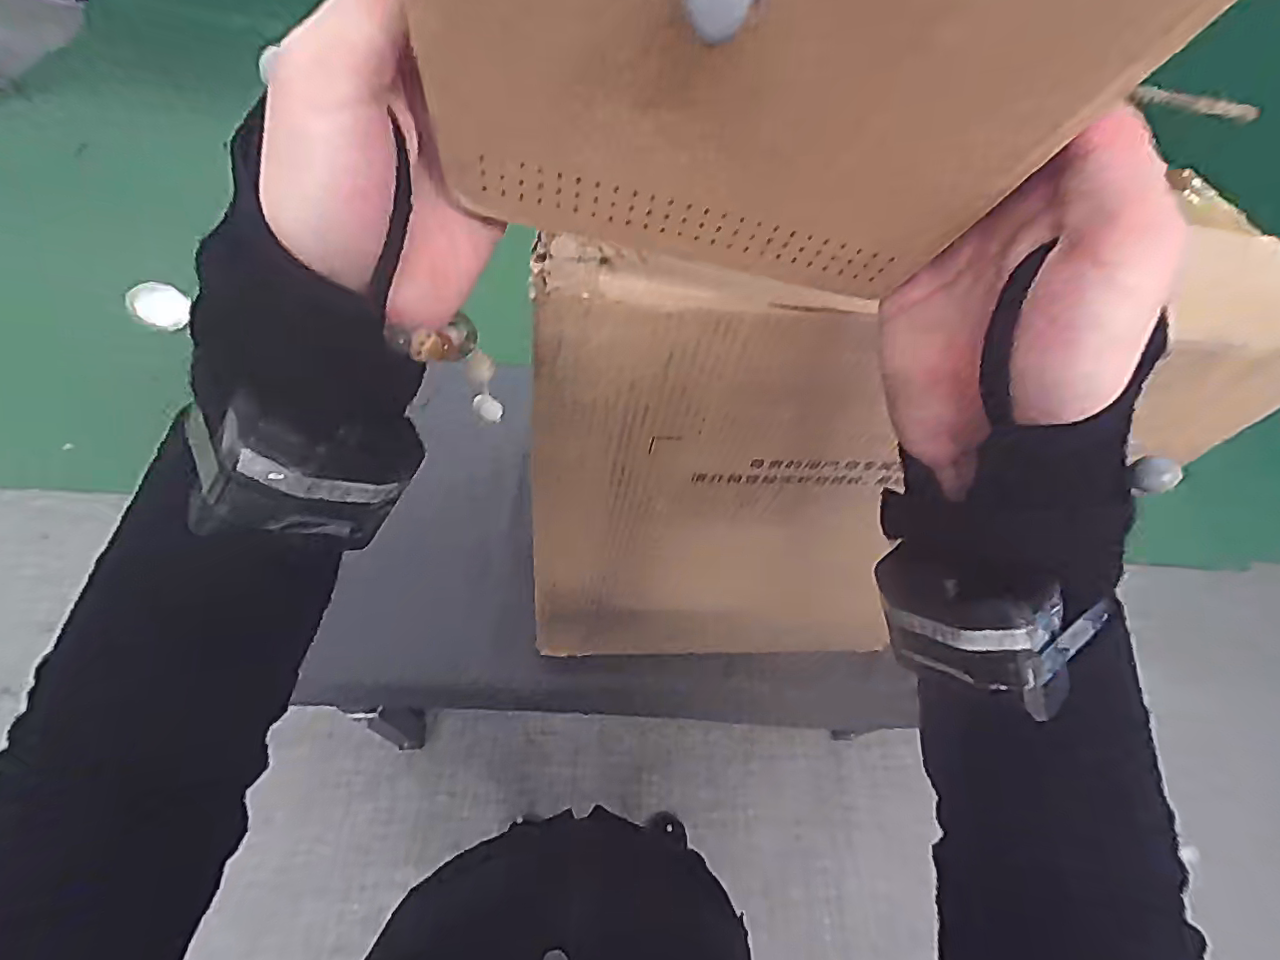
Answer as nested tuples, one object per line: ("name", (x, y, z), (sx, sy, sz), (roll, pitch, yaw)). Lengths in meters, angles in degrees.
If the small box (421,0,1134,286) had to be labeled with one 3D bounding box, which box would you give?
("small box", (0.035, -0.181, 0.158), (0.179, 0.176, 0.168), (8, 78, -8))
